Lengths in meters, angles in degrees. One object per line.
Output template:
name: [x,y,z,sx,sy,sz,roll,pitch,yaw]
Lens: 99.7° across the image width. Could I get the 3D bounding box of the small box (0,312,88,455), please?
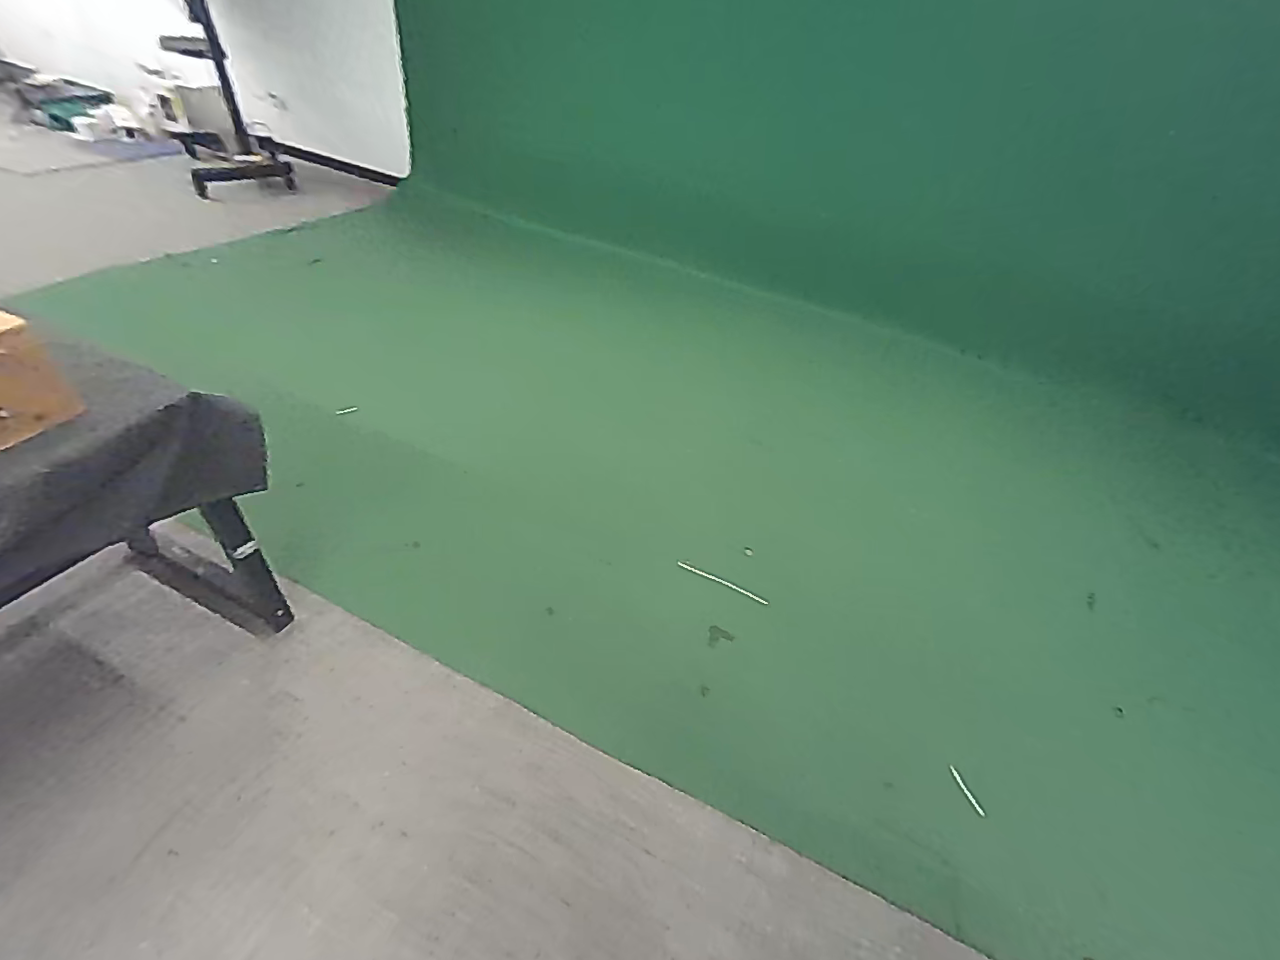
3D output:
small box: [-1.036,-0.153,0.831,0.179,0.176,0.168,19,42,9]
